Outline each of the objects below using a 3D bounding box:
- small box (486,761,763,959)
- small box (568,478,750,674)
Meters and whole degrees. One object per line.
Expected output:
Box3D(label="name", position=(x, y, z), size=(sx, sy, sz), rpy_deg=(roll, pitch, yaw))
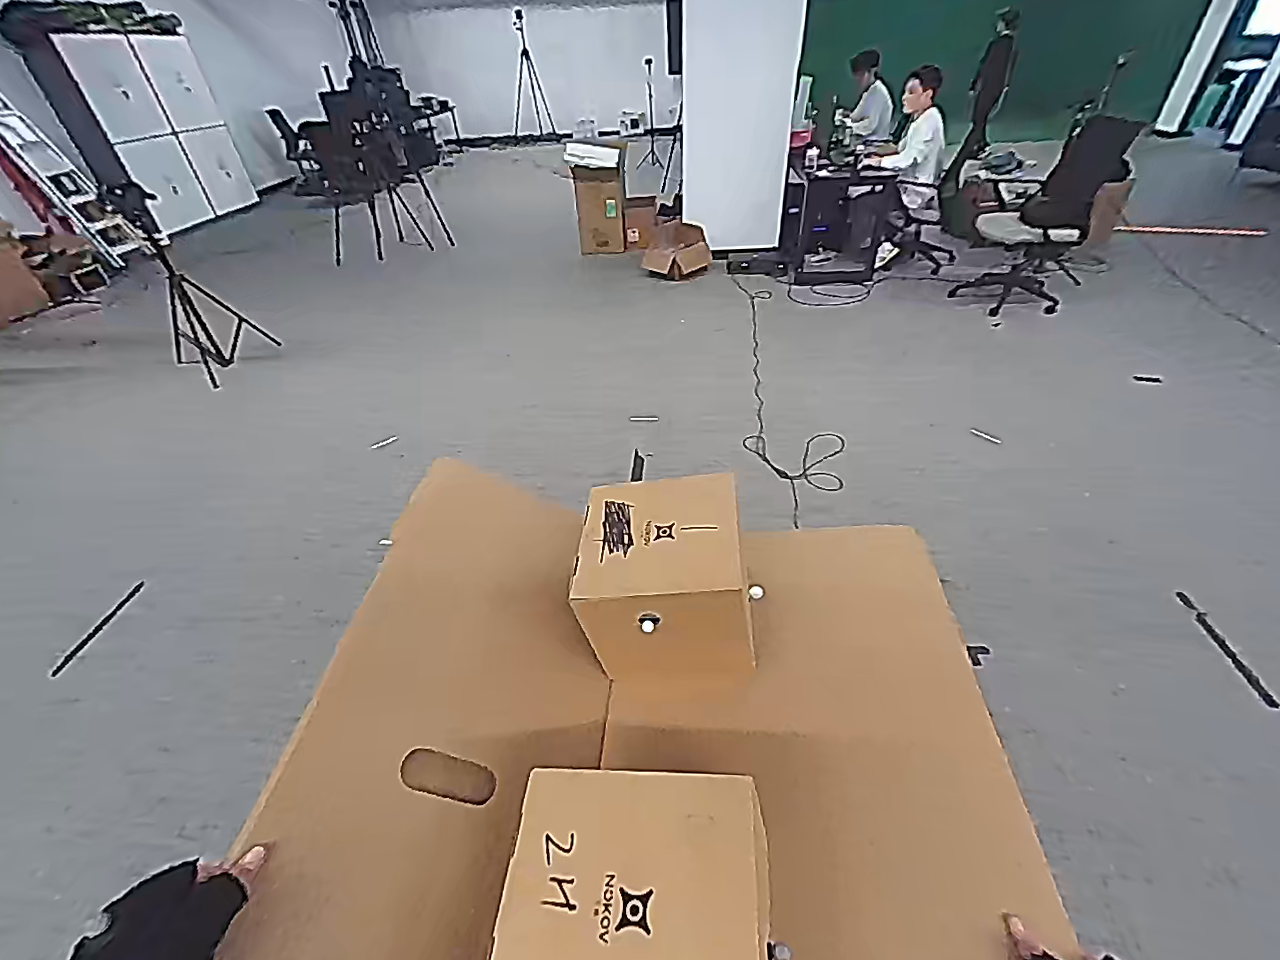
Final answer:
Box3D(label="small box", position=(0.004, 0.339, 0.419), size=(0.179, 0.176, 0.168), rpy_deg=(-5, 42, 14))
Box3D(label="small box", position=(0.033, 0.120, 0.650), size=(0.179, 0.176, 0.168), rpy_deg=(-5, 43, 11))
